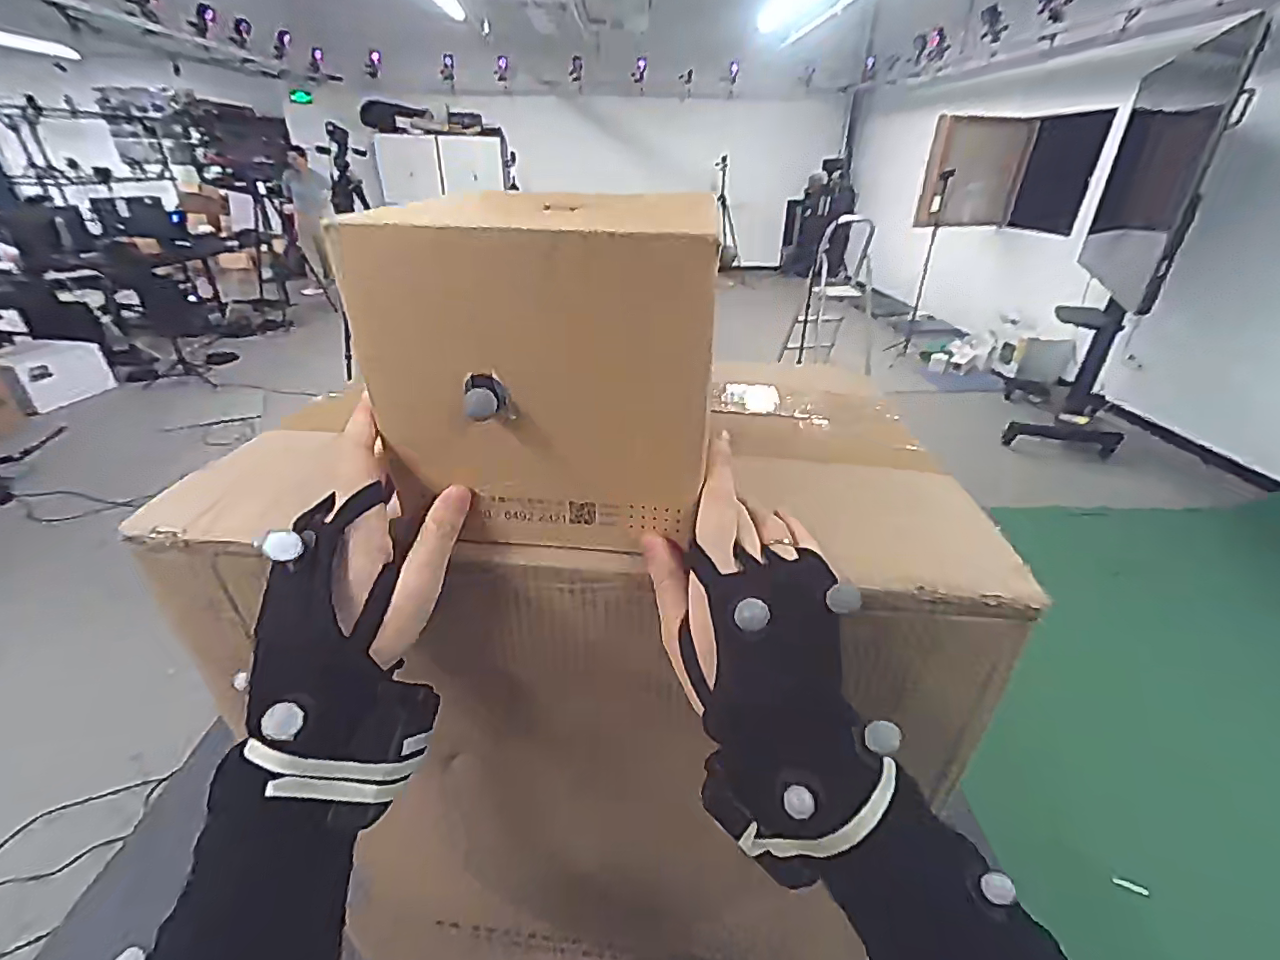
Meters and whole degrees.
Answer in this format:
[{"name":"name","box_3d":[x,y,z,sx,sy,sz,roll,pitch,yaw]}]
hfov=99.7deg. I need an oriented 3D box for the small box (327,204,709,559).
[{"name":"small box","box_3d":[-0.045,-0.069,0.334,0.168,0.176,0.179,4,32,5]}]
